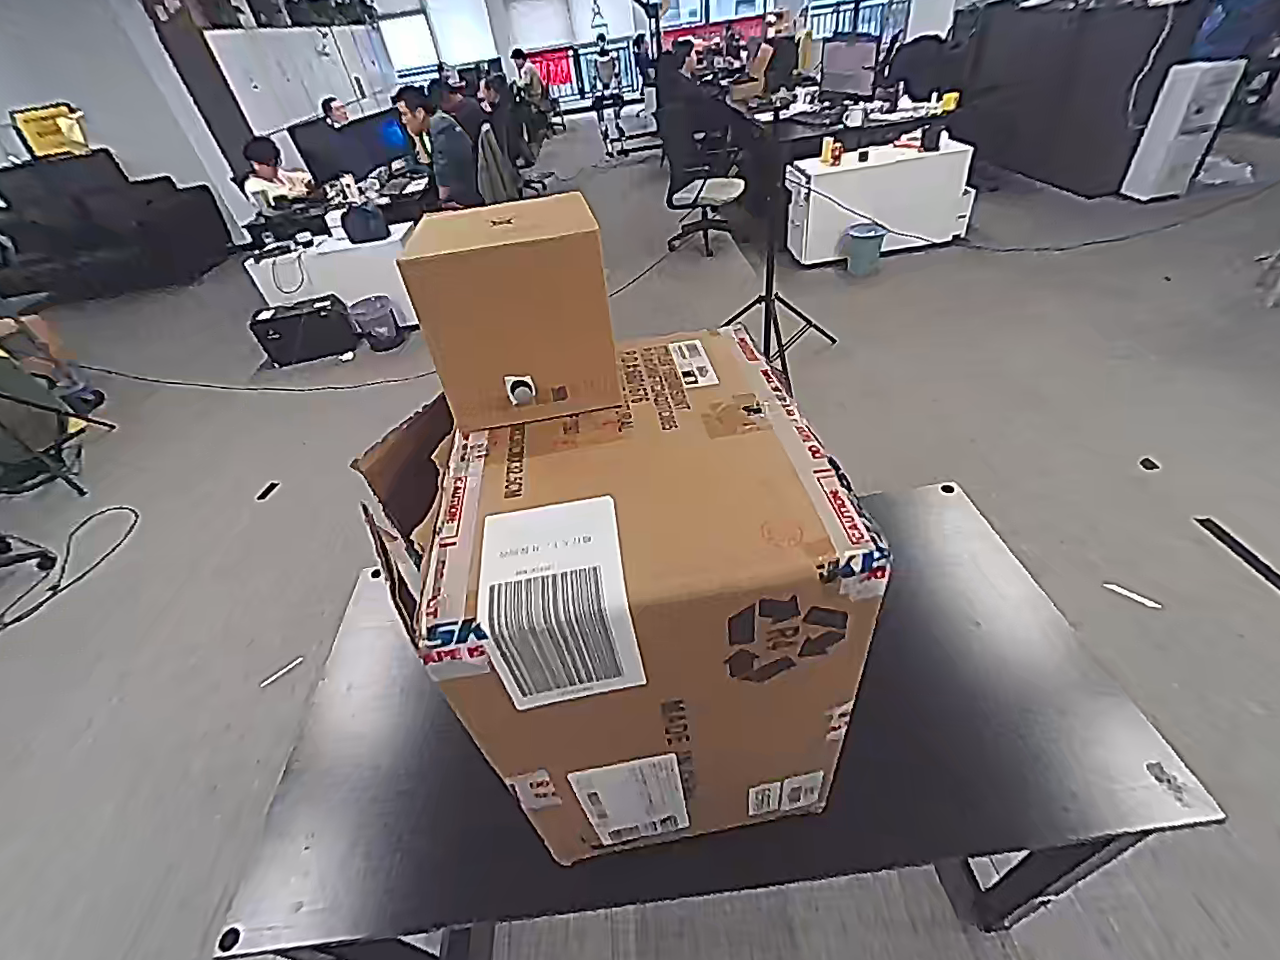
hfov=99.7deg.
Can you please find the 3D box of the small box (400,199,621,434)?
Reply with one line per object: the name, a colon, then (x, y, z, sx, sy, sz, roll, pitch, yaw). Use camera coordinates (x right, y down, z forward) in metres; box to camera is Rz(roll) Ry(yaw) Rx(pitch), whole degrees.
small box: (-0.120, -0.170, 0.553, 0.168, 0.176, 0.179, -12, 39, -4)
